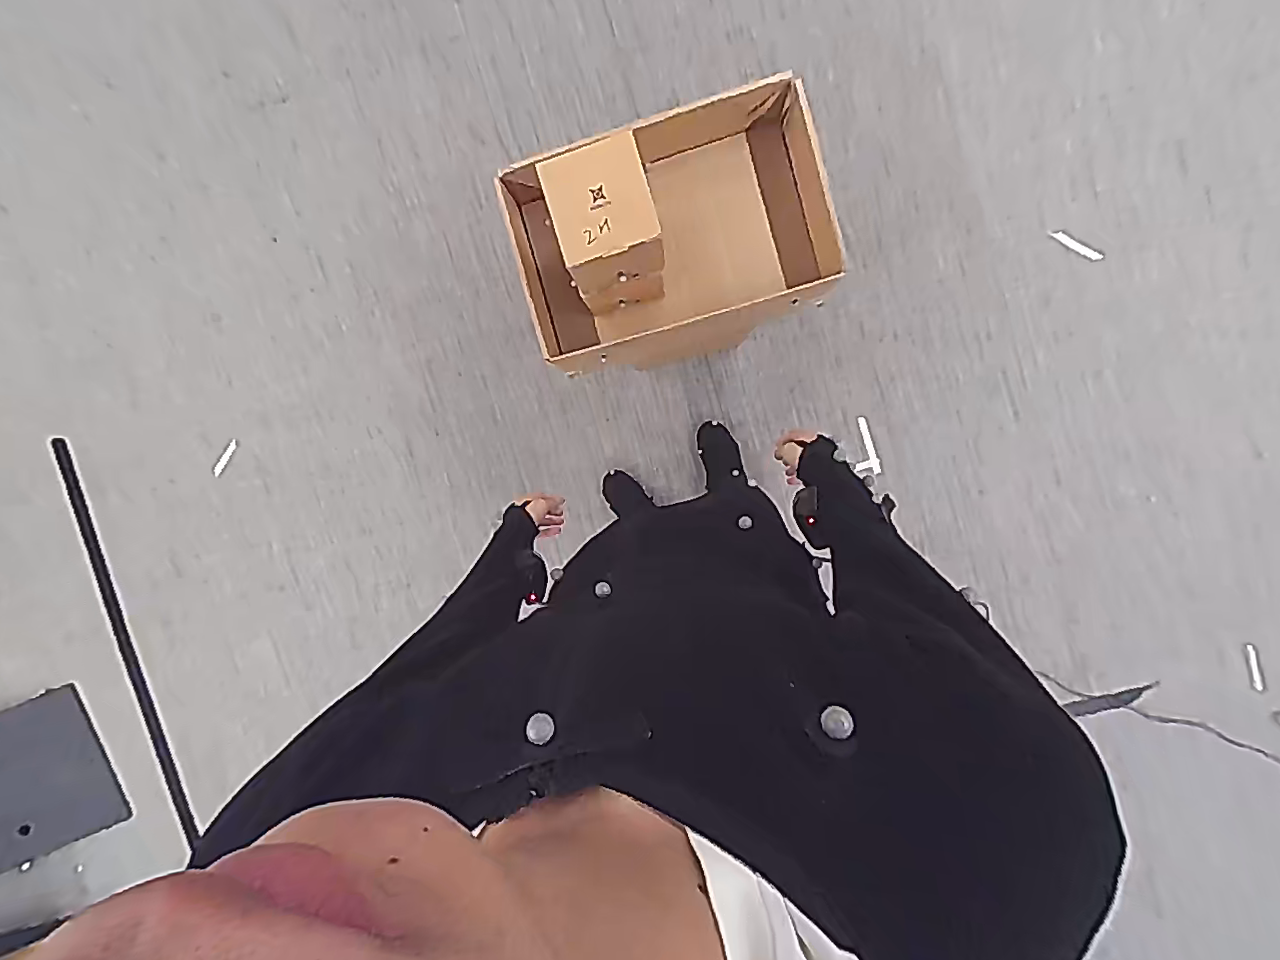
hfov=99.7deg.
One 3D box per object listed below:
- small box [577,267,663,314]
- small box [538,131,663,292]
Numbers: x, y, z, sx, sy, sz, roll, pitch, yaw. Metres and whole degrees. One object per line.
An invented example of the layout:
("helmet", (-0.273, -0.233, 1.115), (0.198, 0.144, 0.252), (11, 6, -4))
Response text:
("small box", (-0.054, -0.465, 1.113), (0.168, 0.176, 0.179), (-16, 93, 5))
("small box", (-0.061, -0.457, 0.949), (0.168, 0.176, 0.179), (-17, 93, 5))
